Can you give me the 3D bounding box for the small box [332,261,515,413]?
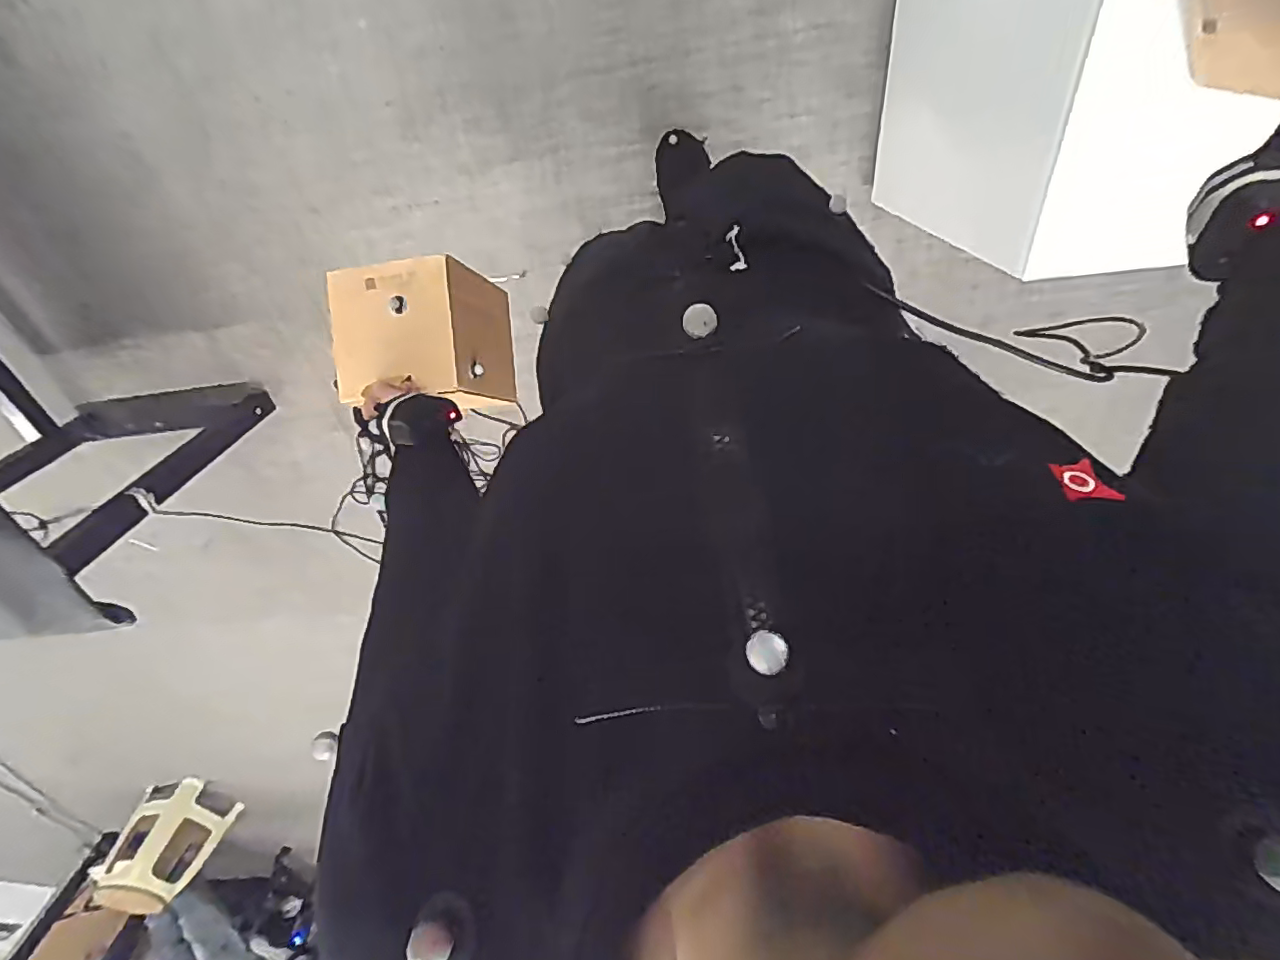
[{"bbox_3d":[-0.287,-0.185,0.743,0.168,0.179,0.176,-4,94,12],"label":"small box"}]
